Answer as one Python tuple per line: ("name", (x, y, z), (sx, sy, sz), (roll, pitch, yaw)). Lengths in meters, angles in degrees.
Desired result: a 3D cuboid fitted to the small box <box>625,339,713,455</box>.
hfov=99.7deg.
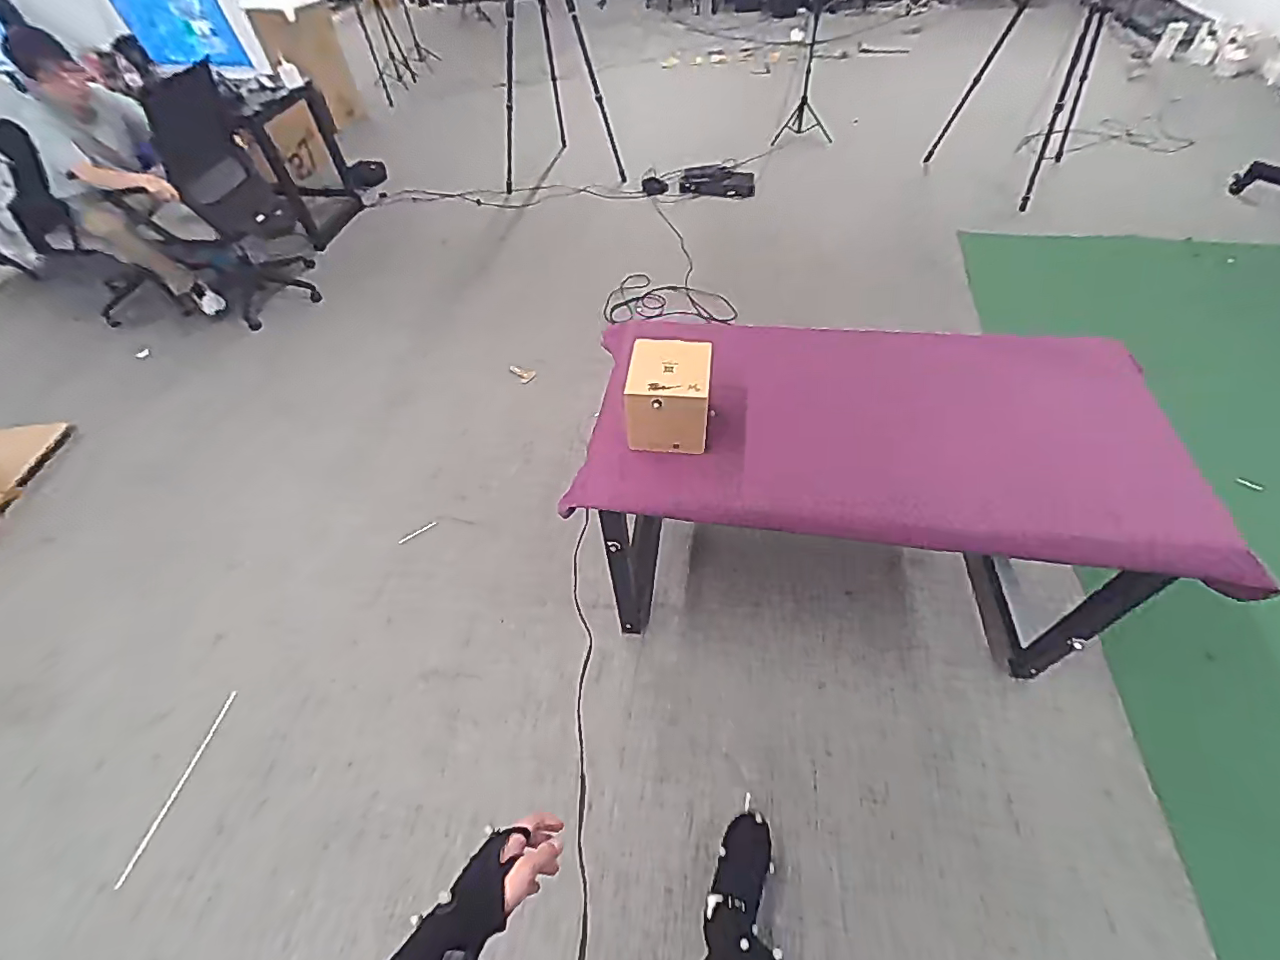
("small box", (0.066, -0.178, 1.158), (0.168, 0.176, 0.179), (4, 51, 8))
